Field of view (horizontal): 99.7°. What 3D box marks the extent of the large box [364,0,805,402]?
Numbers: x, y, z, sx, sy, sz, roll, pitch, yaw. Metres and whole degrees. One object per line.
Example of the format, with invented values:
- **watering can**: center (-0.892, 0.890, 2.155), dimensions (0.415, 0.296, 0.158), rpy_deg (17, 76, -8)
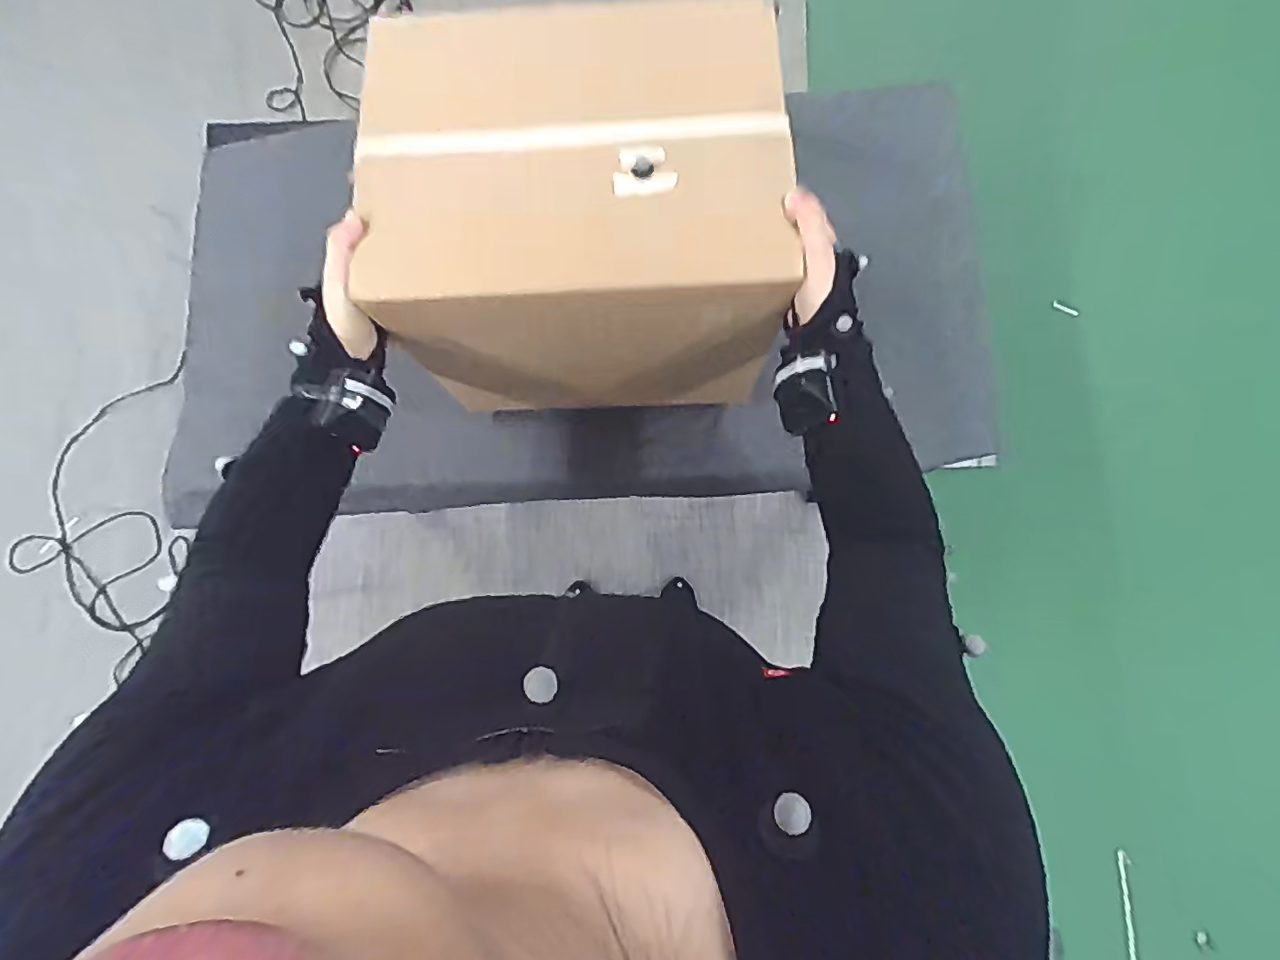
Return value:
- **large box**: center (-0.056, -0.299, 0.655), dimensions (0.408, 0.320, 0.320), rpy_deg (-3, 79, 1)
